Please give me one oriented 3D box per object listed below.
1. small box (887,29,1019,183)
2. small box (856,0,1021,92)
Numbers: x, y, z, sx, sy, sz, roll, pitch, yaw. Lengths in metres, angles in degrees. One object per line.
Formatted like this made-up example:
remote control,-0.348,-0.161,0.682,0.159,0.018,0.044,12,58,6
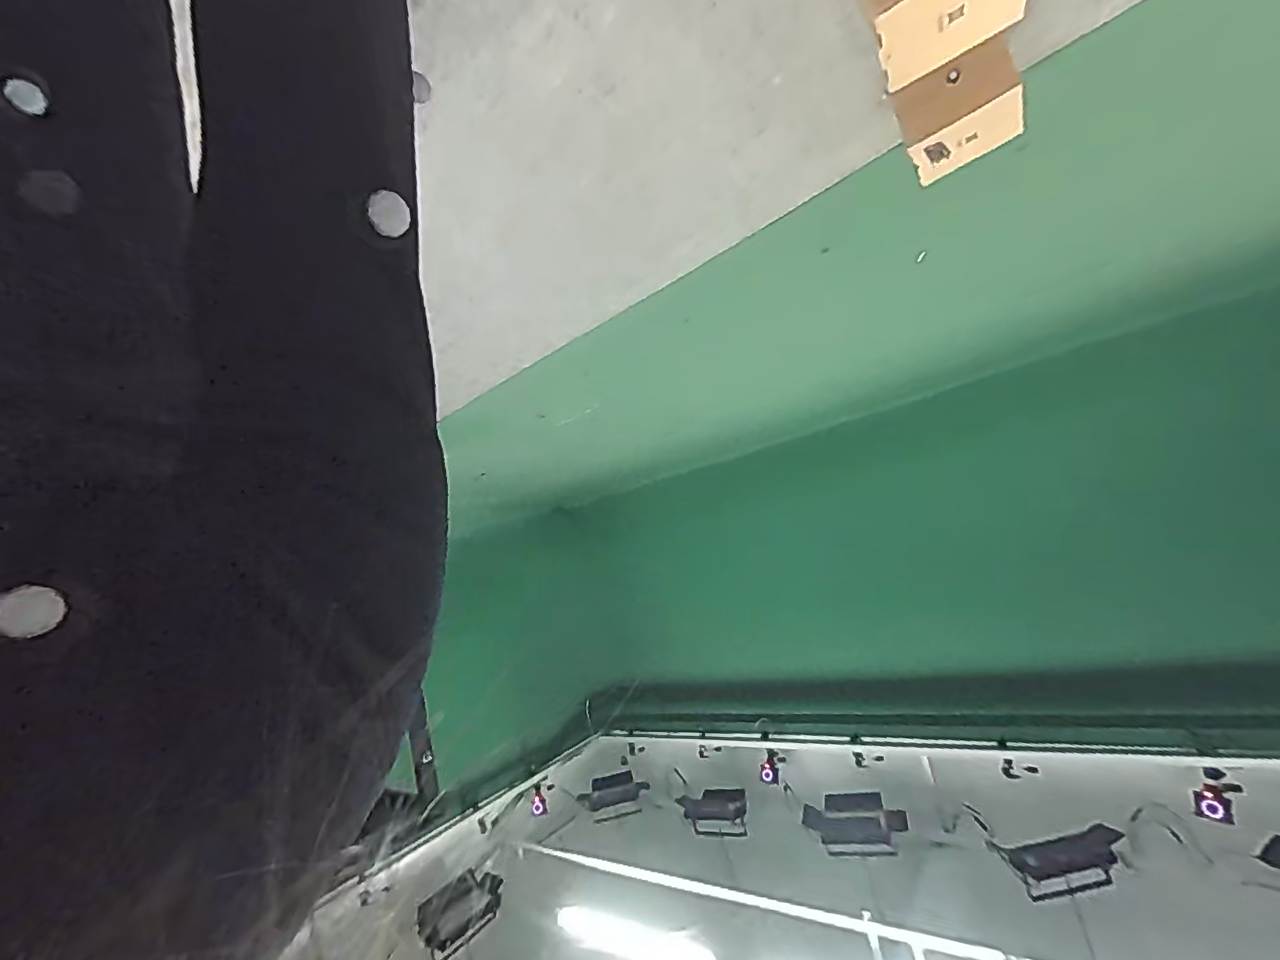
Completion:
small box,0.566,-0.697,0.989,0.179,0.176,0.168,-19,171,35
small box,0.389,-0.690,0.723,0.179,0.176,0.168,-17,172,30
